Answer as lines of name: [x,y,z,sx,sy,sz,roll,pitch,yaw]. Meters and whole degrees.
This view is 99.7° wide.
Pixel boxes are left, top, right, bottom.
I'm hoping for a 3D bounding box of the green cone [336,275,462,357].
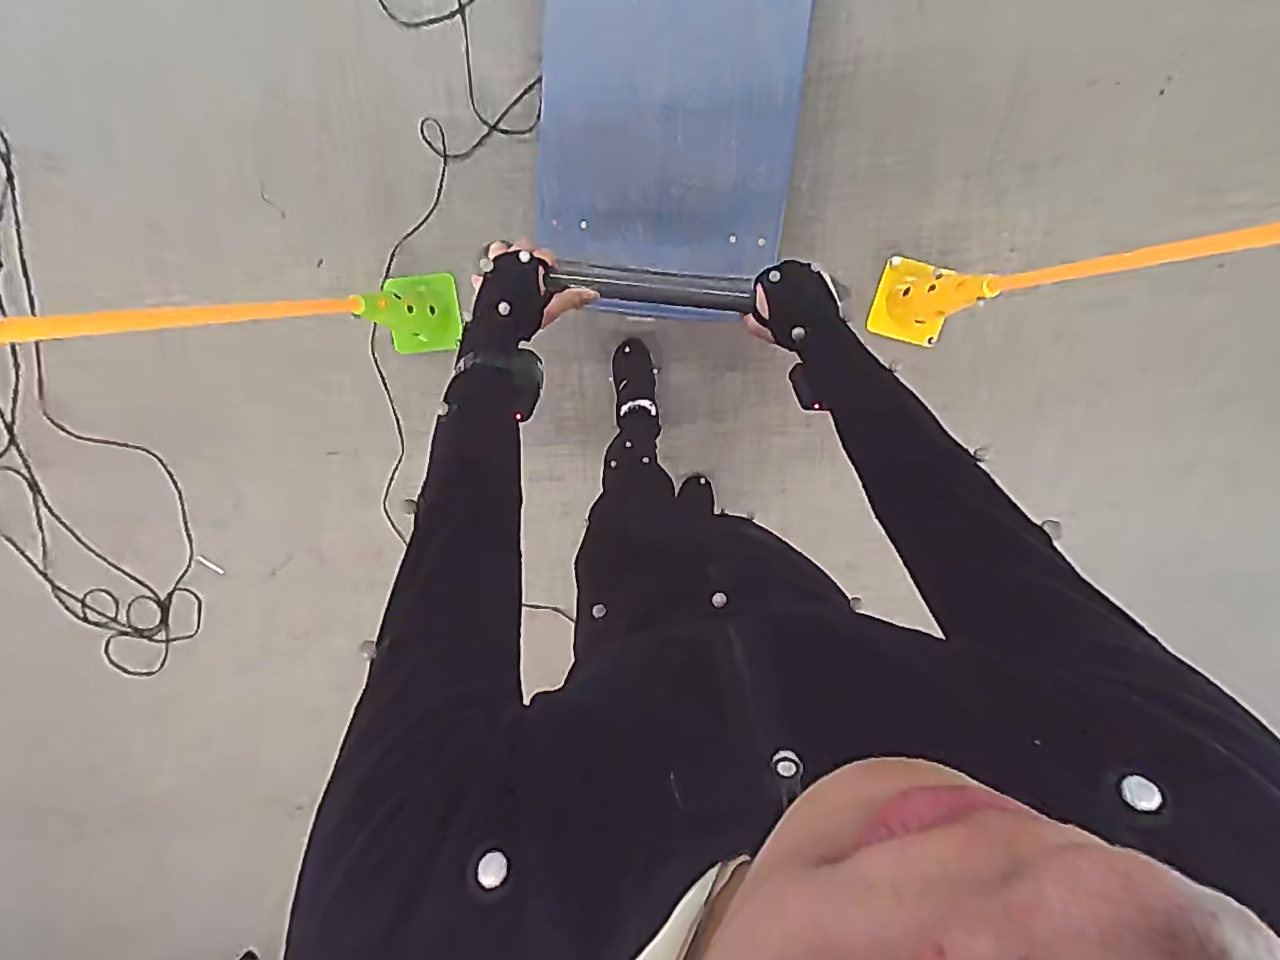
green cone: [-0.605,-0.408,1.309,0.202,0.368,0.200,-6,102,4]
